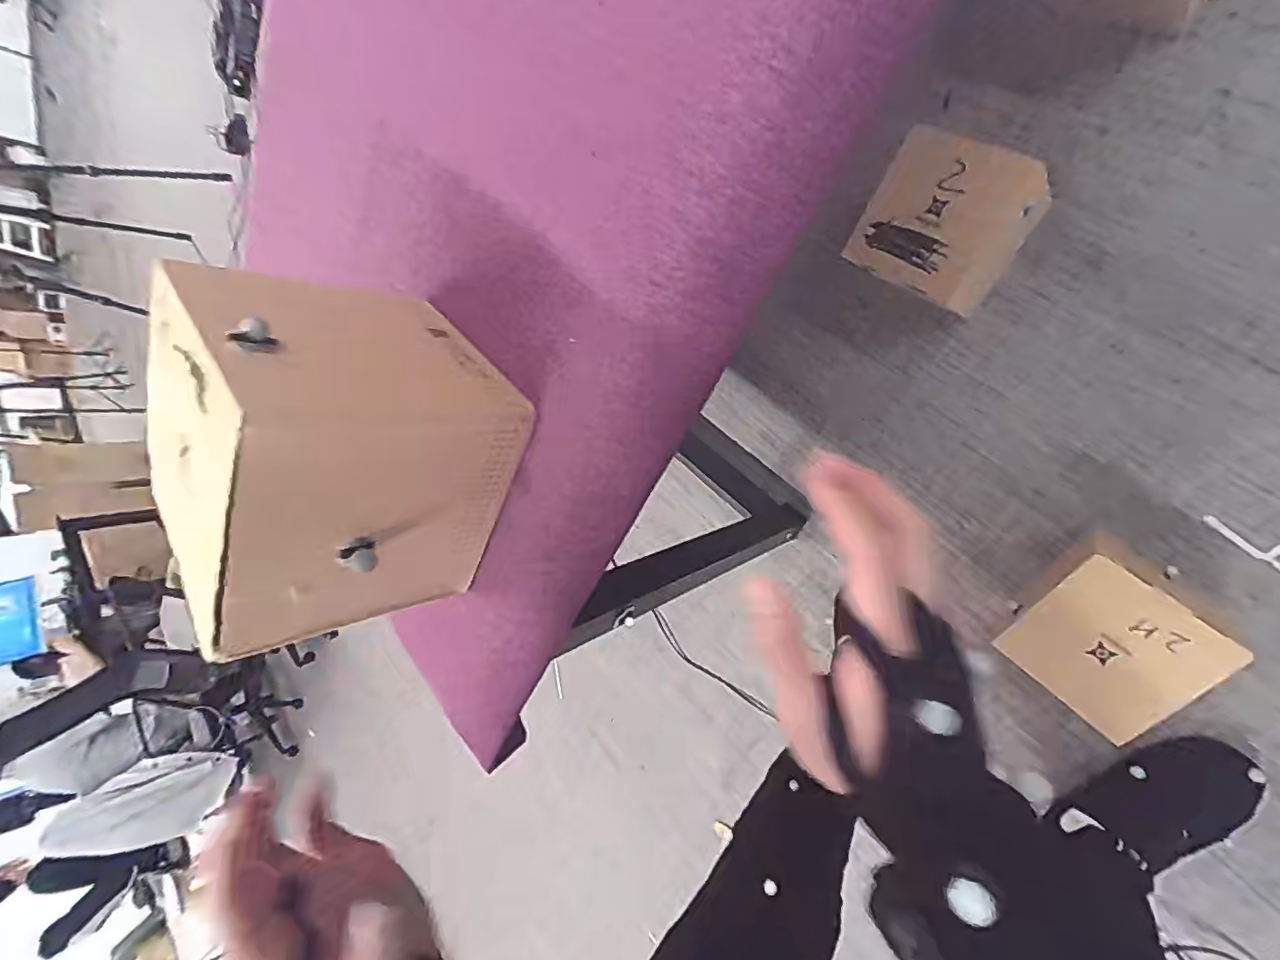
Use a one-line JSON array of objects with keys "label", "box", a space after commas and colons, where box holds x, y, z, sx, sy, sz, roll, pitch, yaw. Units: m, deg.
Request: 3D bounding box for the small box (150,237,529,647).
[{"label": "small box", "box": [-0.201, -0.027, 0.364, 0.168, 0.176, 0.179, 44, 121, 27]}]
